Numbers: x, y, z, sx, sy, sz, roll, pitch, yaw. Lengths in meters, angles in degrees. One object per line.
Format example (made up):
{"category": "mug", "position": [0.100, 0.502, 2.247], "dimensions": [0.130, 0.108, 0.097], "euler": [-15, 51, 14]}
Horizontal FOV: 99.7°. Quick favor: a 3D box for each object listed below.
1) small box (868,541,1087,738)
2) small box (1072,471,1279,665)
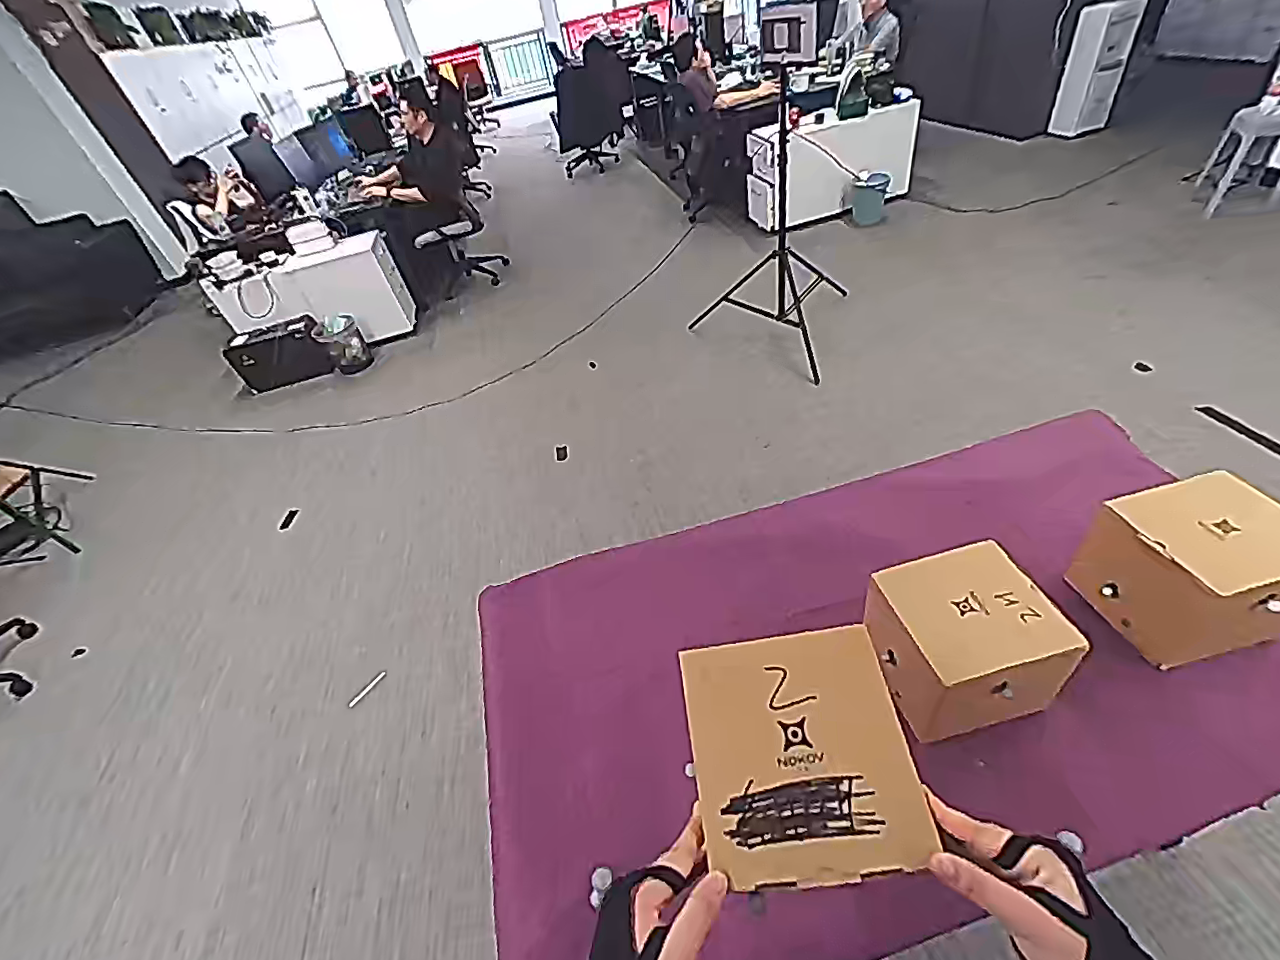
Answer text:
{"category": "small box", "position": [0.419, 0.213, 0.713], "dimensions": [0.179, 0.176, 0.168], "euler": [-15, 42, -1]}
{"category": "small box", "position": [0.742, 0.120, 0.726], "dimensions": [0.179, 0.176, 0.168], "euler": [-16, 41, 0]}
